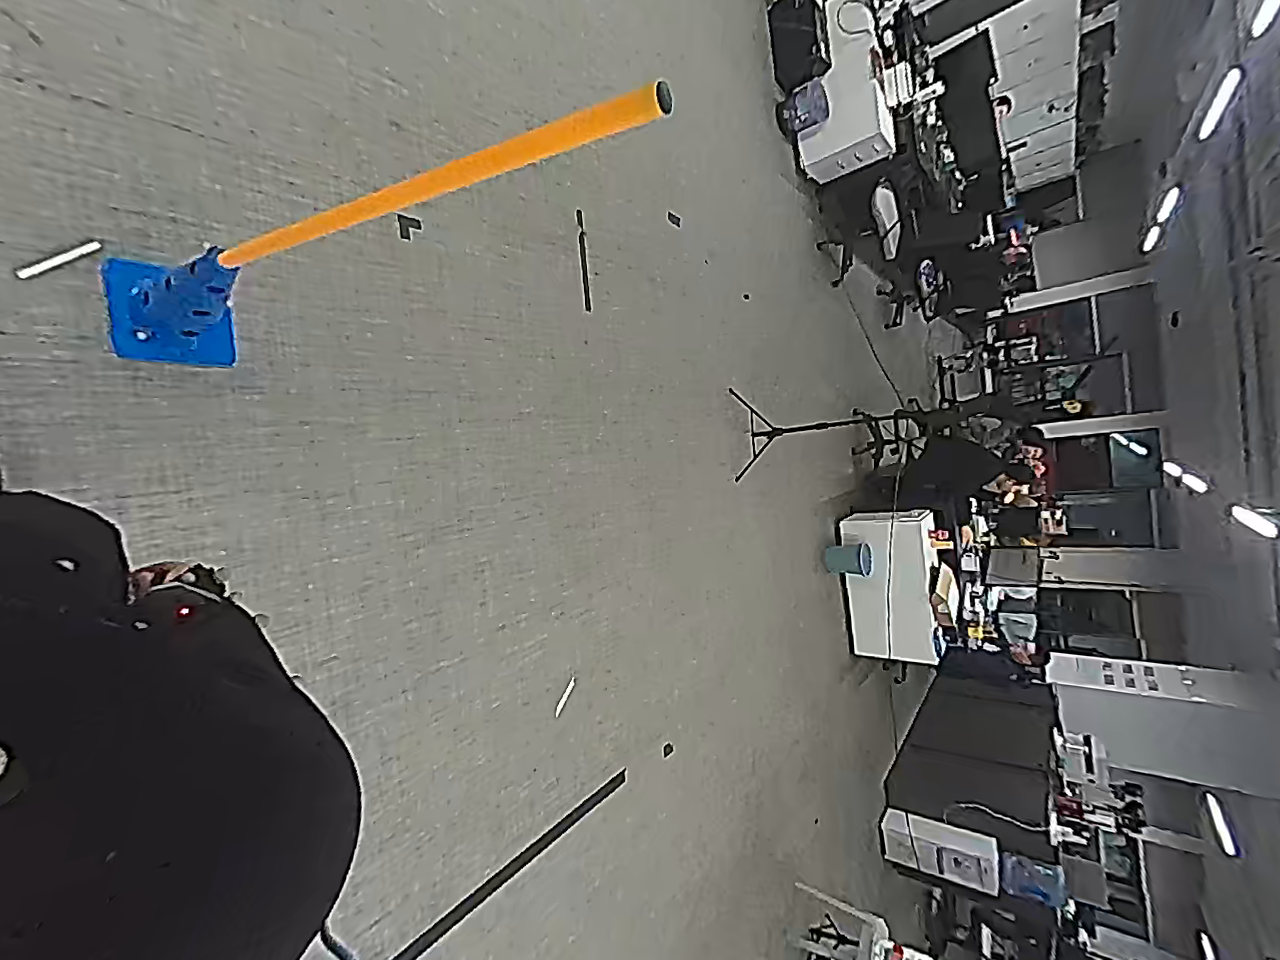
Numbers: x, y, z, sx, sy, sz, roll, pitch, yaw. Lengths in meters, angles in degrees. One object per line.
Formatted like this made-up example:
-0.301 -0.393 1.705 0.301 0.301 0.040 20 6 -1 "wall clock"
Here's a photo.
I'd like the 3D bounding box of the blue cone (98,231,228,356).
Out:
-0.841 -0.367 1.004 0.193 0.380 0.192 -4 88 -52 "blue cone"
